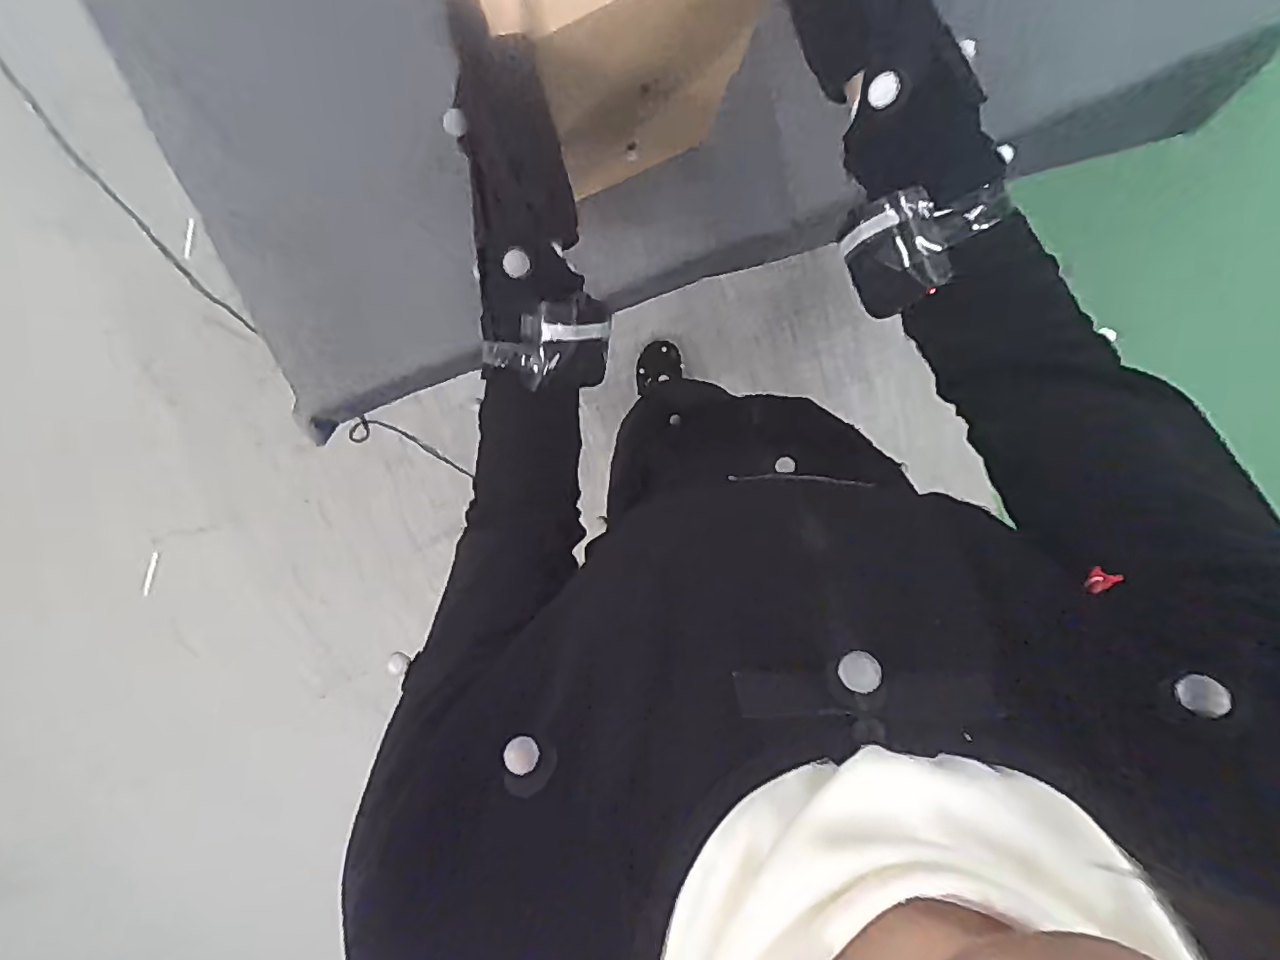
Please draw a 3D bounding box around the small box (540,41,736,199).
[{"bbox_3d":[-0.035,-0.401,0.512,0.179,0.176,0.168,-26,104,4],"label":"small box"}]
